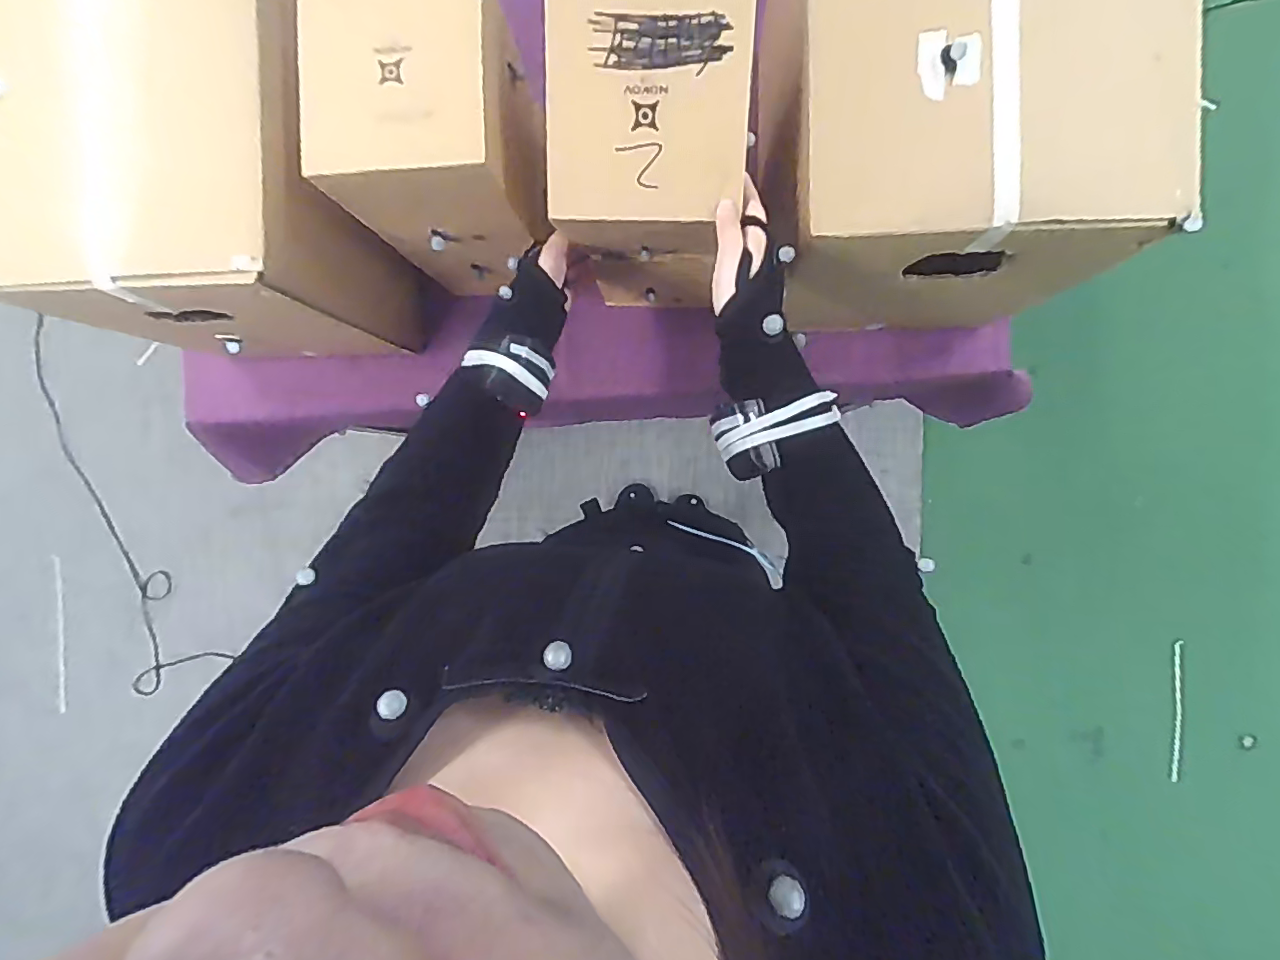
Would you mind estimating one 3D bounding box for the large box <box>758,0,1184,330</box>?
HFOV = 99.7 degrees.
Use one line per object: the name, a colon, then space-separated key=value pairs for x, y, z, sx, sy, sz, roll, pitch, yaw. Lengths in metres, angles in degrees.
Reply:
large box: x=0.316 y=-0.409 z=0.613 sx=0.320 sy=0.320 sz=0.408 roll=0 pitch=91 yaw=4
